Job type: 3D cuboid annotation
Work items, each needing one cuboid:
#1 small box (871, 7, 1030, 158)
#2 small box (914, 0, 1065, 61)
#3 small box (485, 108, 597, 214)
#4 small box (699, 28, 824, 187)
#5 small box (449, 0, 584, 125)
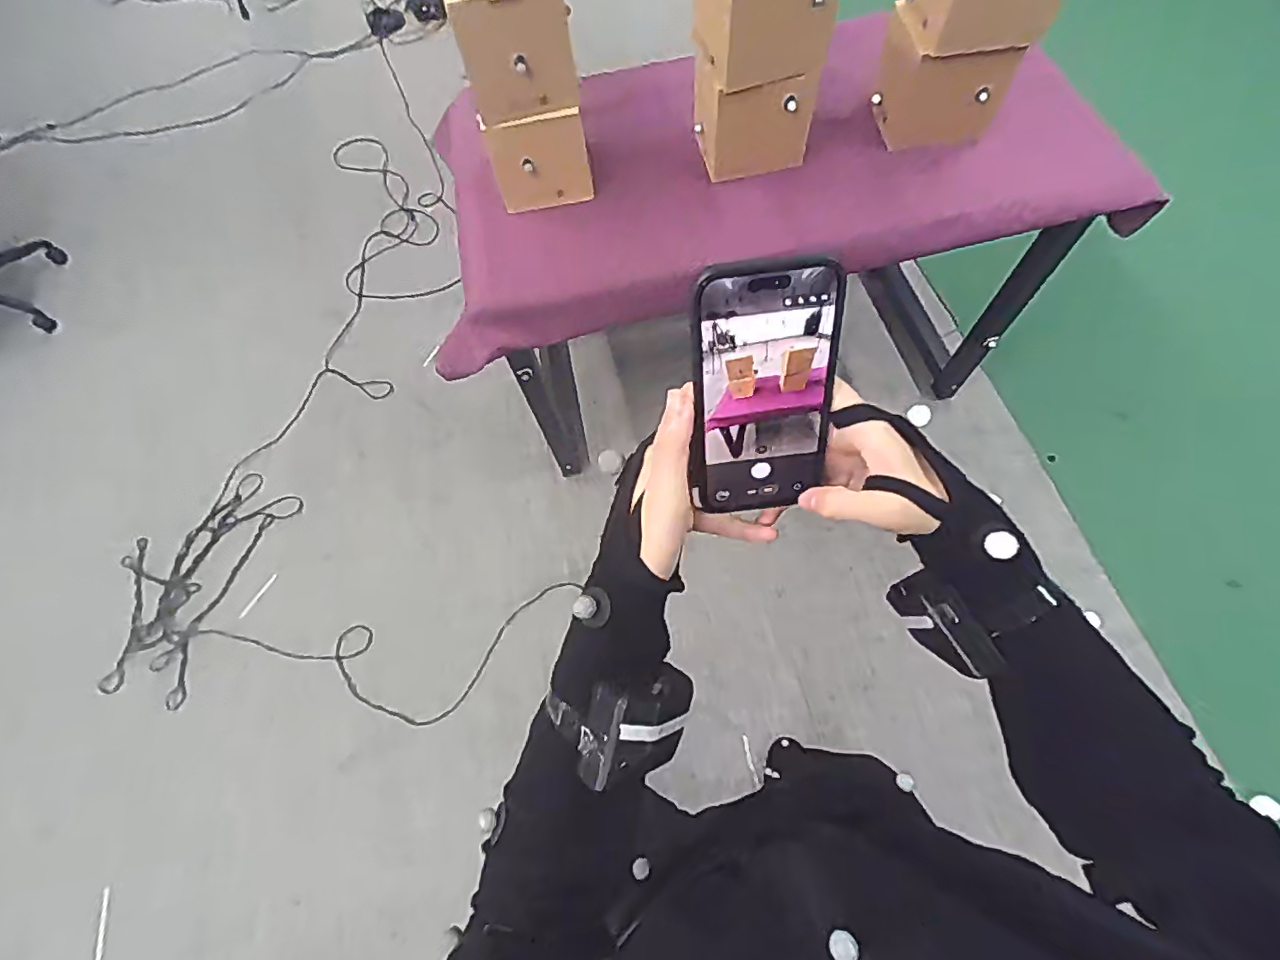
[{"bbox_3d":[0.546,-0.720,0.979,0.179,0.176,0.168,-5,64,3],"label":"small box"},{"bbox_3d":[0.544,-0.776,0.825,0.179,0.176,0.168,-5,64,2],"label":"small box"},{"bbox_3d":[-0.178,-0.618,0.997,0.168,0.176,0.179,-10,65,1],"label":"small box"},{"bbox_3d":[0.209,-0.671,0.985,0.179,0.176,0.168,-11,64,0],"label":"small box"},{"bbox_3d":[-0.193,-0.694,0.852,0.168,0.176,0.179,-14,65,-2],"label":"small box"}]
